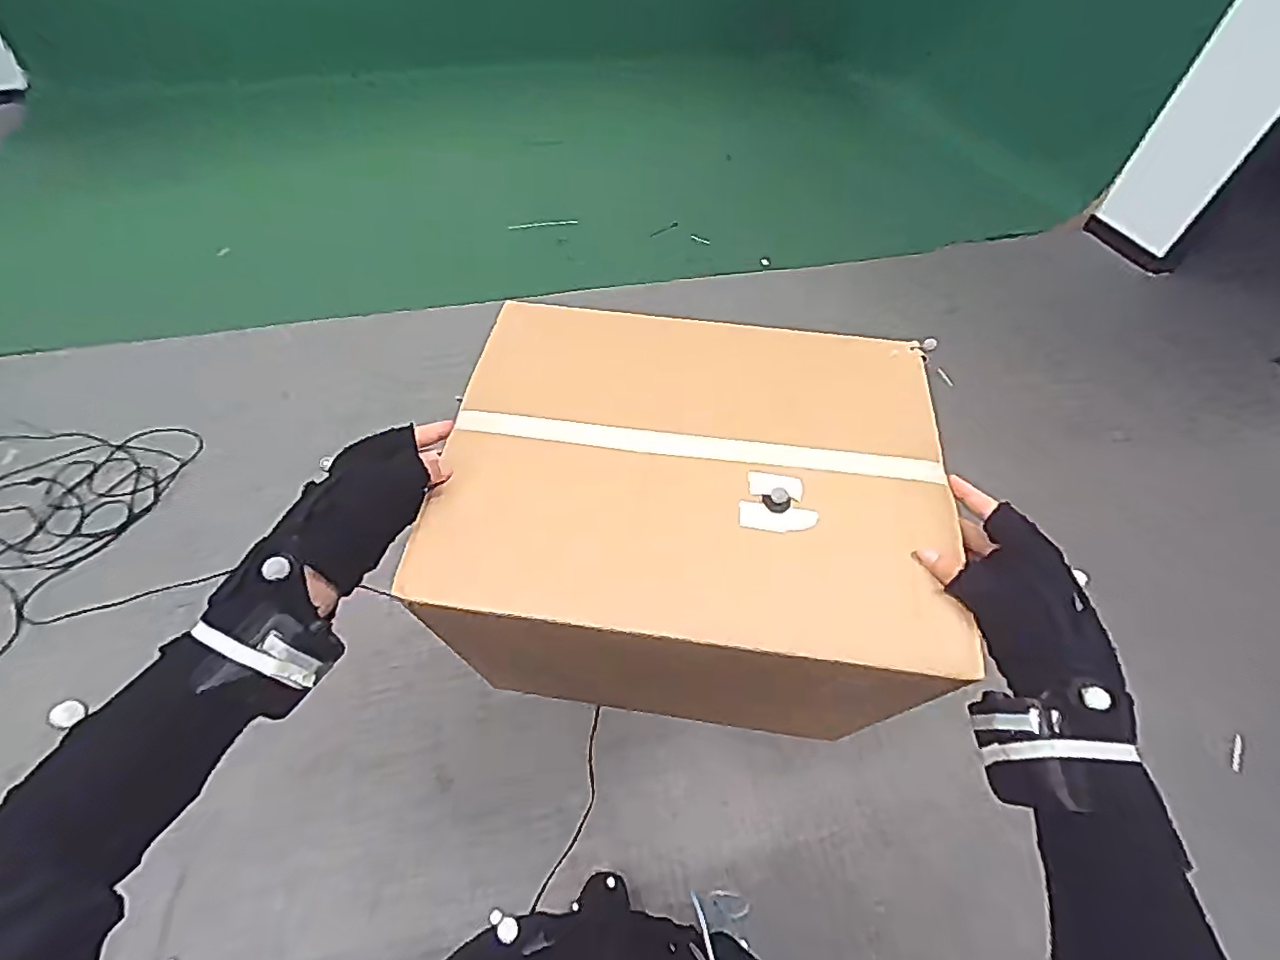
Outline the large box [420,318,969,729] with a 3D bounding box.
[{"bbox_3d":[0.046,0.061,0.588,0.408,0.320,0.320,7,58,3],"label":"large box"}]
